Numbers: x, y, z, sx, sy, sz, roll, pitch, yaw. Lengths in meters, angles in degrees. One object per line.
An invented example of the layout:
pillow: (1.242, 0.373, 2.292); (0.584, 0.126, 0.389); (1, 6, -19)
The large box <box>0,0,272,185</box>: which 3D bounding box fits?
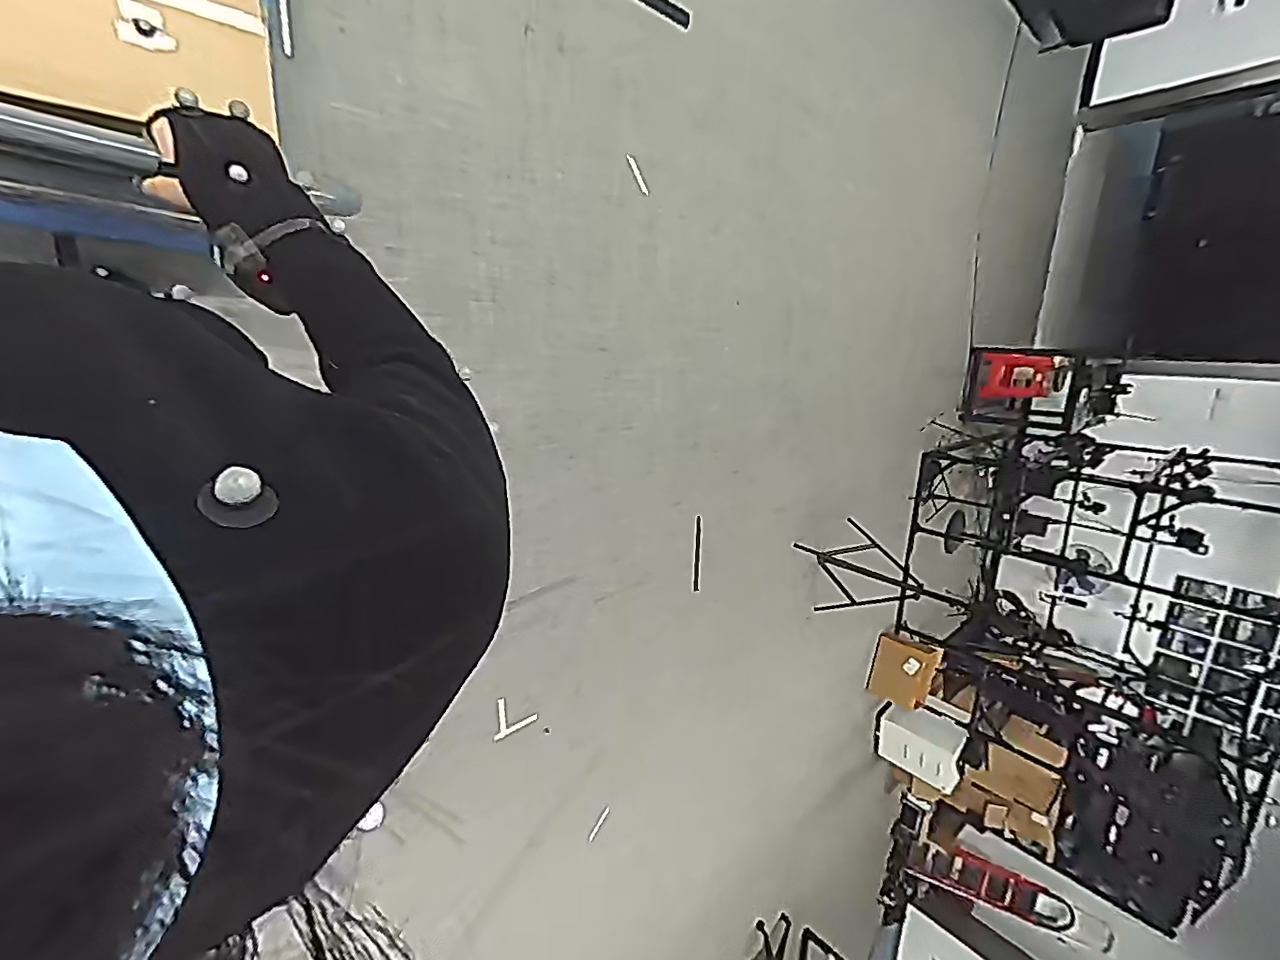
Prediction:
large box: (-0.801, -0.645, 0.751); (0.408, 0.320, 0.320); (-12, 109, -43)
